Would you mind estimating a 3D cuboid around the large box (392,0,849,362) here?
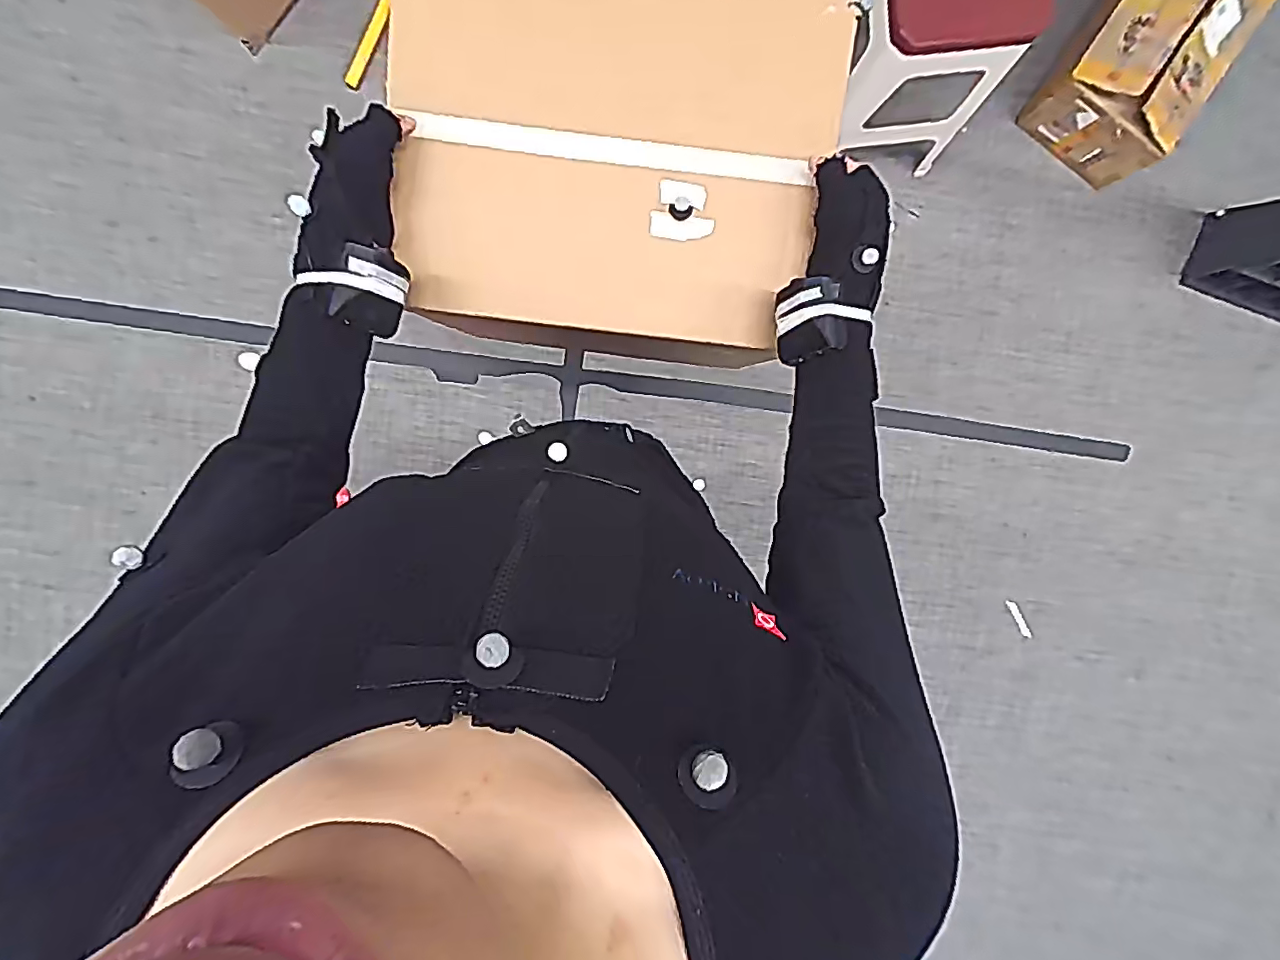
[{"bbox_3d":[-0.030,-0.324,0.642,0.408,0.320,0.320,6,99,-3],"label":"large box"}]
